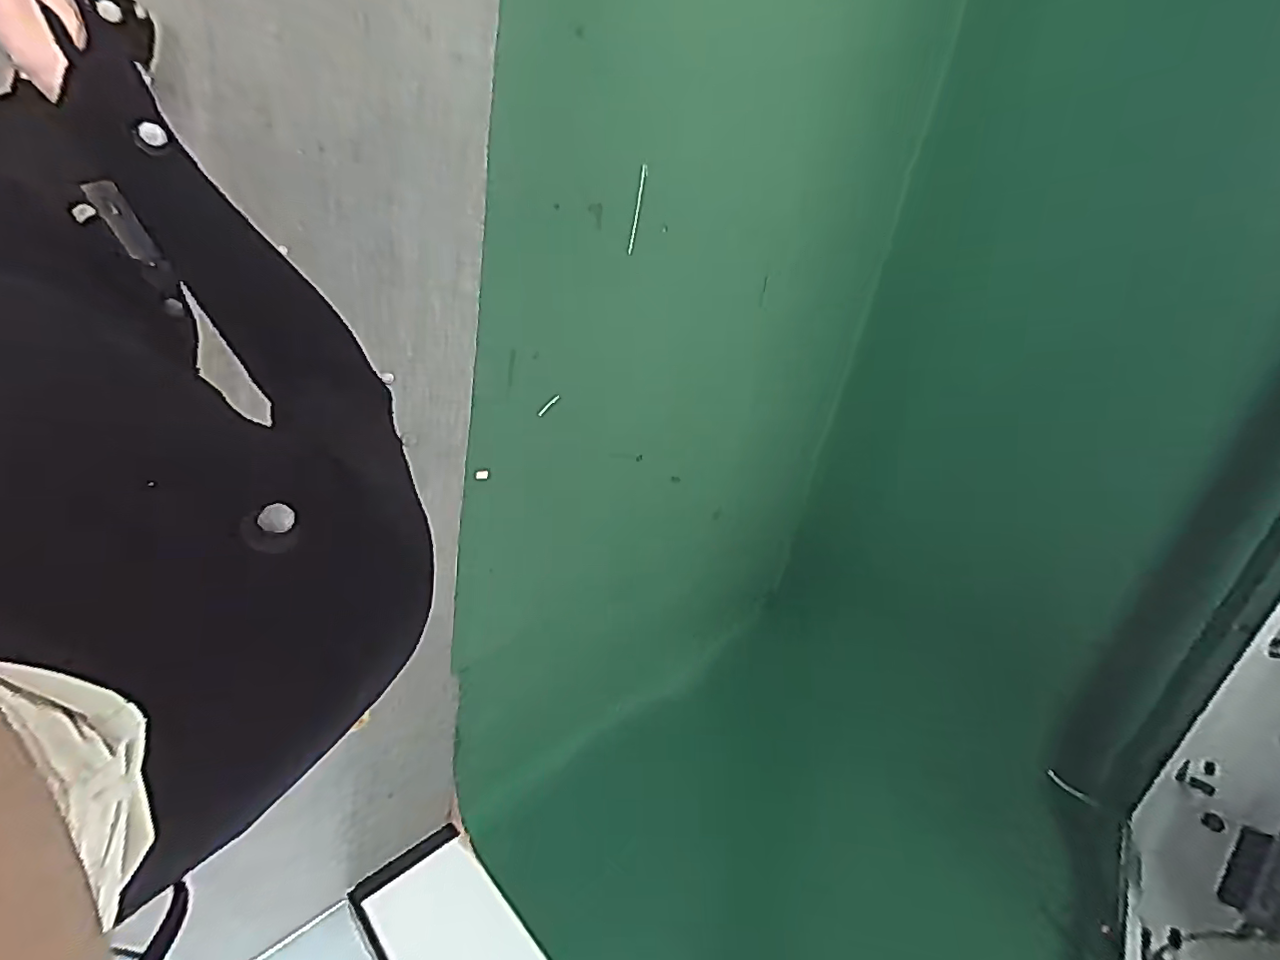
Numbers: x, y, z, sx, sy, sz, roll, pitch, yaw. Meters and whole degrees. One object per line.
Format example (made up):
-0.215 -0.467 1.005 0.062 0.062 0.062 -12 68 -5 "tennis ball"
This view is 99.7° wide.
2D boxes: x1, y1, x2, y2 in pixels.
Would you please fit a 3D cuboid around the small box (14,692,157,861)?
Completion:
-1.016 0.533 0.997 0.168 0.176 0.179 -9 117 -46 "small box"
